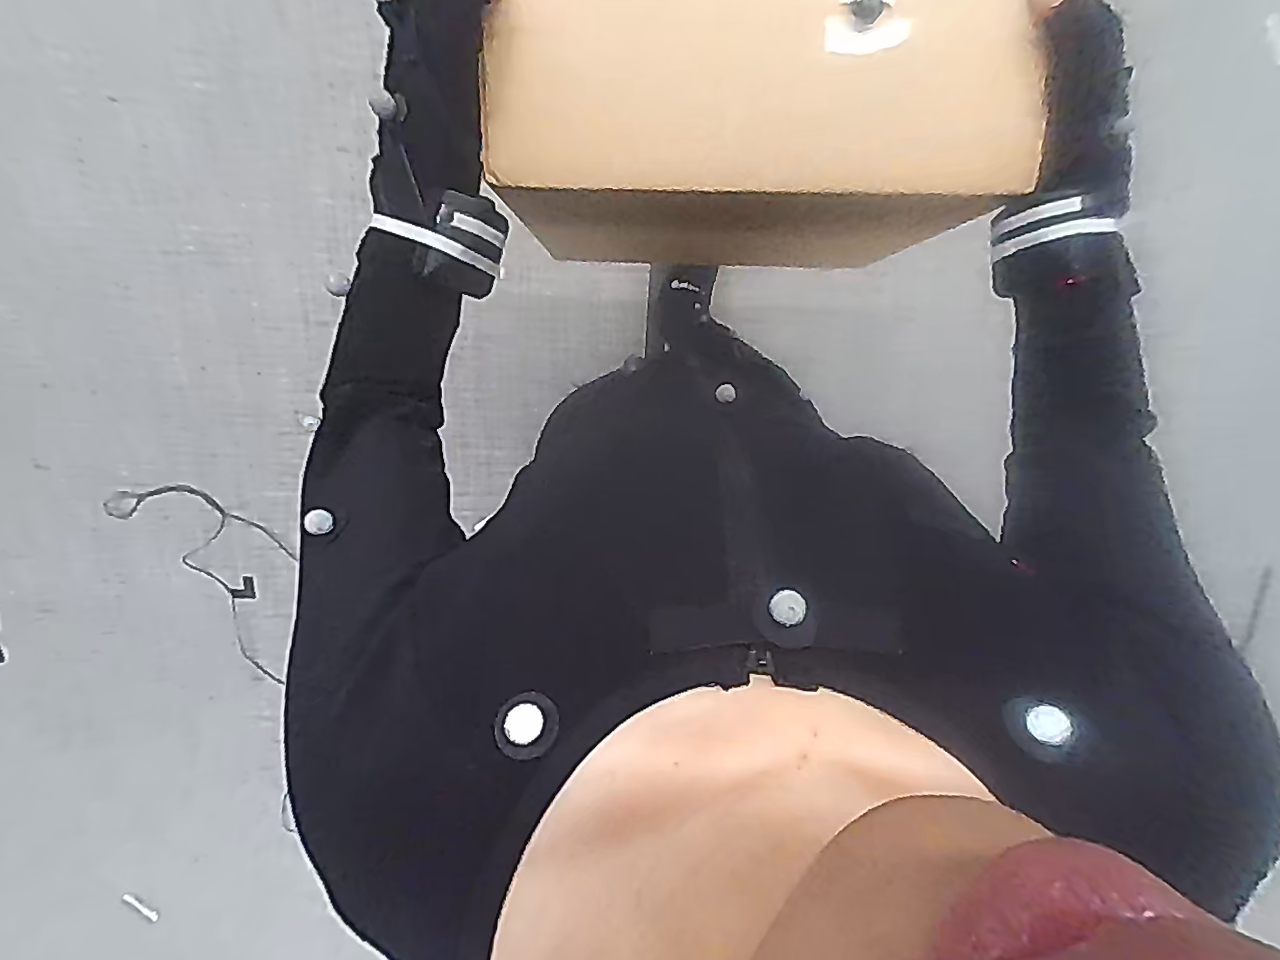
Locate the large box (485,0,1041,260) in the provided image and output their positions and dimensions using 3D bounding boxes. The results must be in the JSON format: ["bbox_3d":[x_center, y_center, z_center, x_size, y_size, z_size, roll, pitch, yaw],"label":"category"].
[{"bbox_3d":[0.086,-0.407,0.524,0.408,0.320,0.320,1,102,0],"label":"large box"}]
